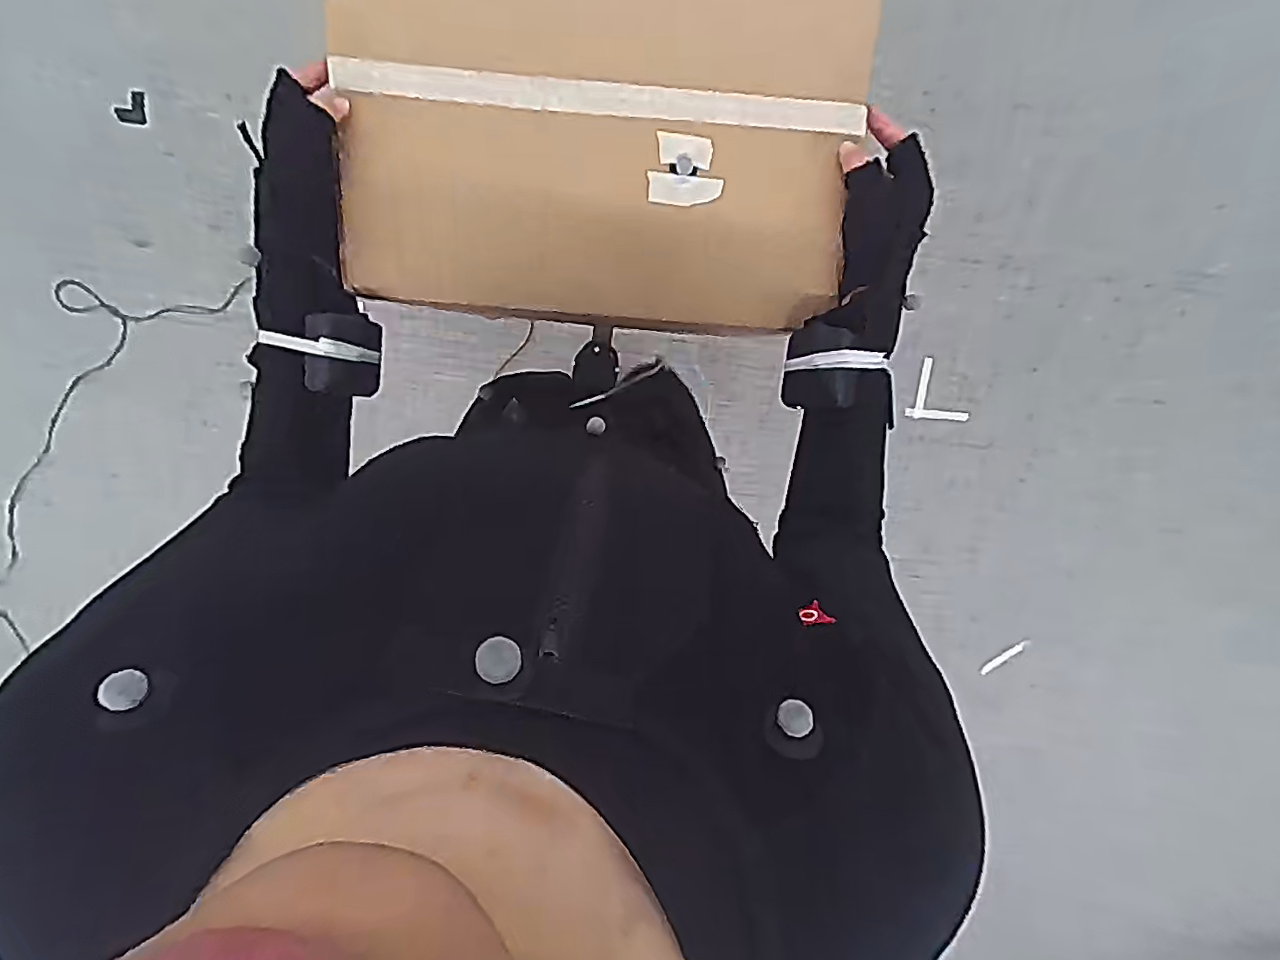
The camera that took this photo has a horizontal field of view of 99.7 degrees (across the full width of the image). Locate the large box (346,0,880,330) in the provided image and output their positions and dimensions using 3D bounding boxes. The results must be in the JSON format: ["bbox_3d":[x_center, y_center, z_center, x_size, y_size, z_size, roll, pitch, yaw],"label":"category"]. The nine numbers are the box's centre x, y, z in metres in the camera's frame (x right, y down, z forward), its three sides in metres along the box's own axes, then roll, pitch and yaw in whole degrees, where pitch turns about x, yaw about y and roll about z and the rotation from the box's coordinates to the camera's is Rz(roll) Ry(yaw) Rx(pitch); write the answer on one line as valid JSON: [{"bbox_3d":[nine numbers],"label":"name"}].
[{"bbox_3d":[-0.030,-0.330,0.562,0.408,0.320,0.320,4,105,-3],"label":"large box"}]
